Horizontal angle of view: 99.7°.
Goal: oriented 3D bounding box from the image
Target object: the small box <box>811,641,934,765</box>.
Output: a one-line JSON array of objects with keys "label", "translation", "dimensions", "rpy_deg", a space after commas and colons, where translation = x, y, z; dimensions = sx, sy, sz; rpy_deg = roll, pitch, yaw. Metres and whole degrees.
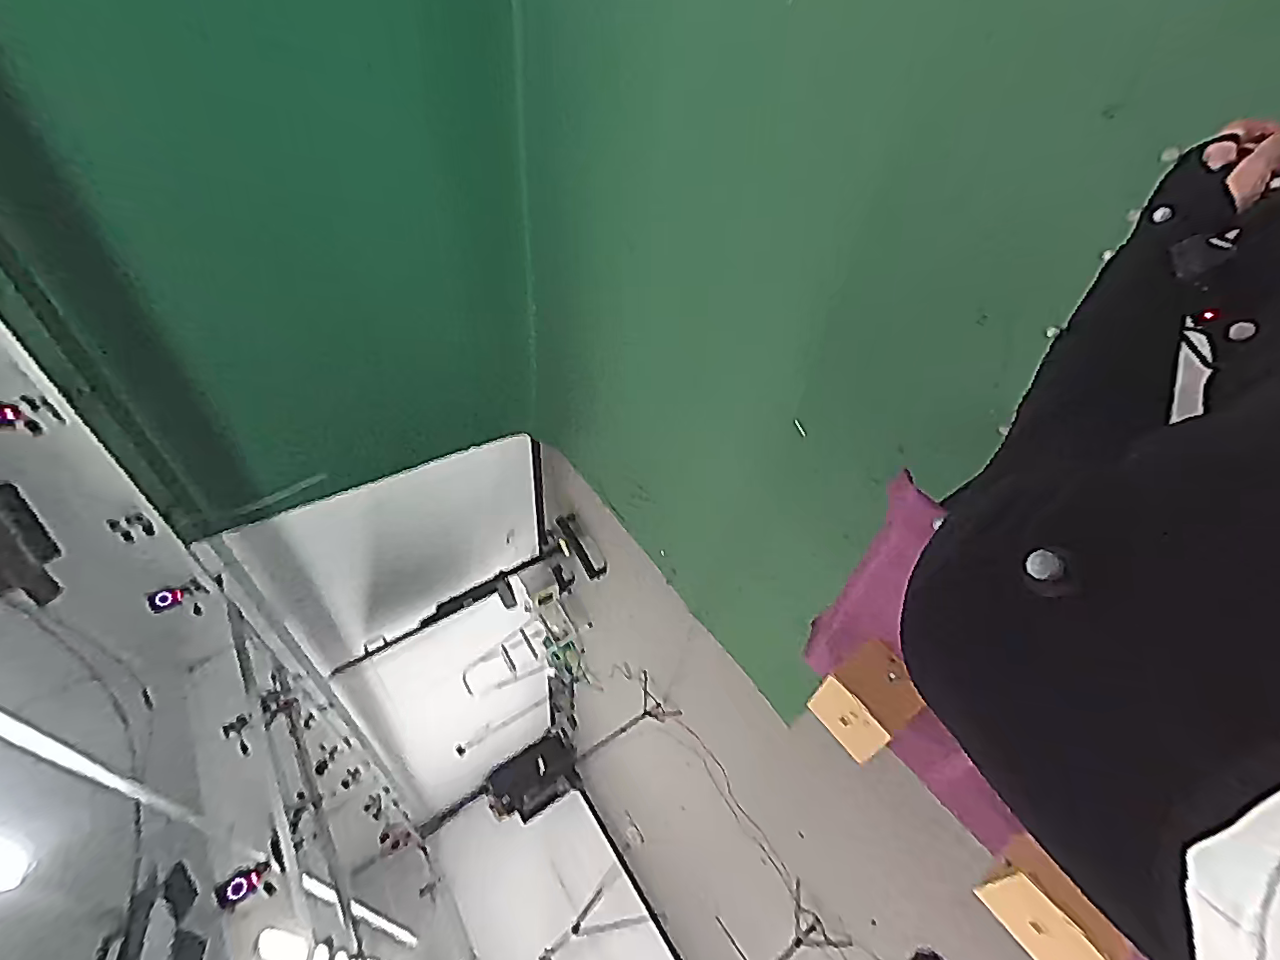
[{"label": "small box", "translation": [0.531, 0.507, 1.238], "dimensions": [0.168, 0.176, 0.179], "rpy_deg": [45, 145, 32]}]

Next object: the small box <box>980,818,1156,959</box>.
[{"label": "small box", "translation": [0.790, 0.773, 1.002], "dimensions": [0.168, 0.176, 0.179], "rpy_deg": [46, 145, 33]}]
